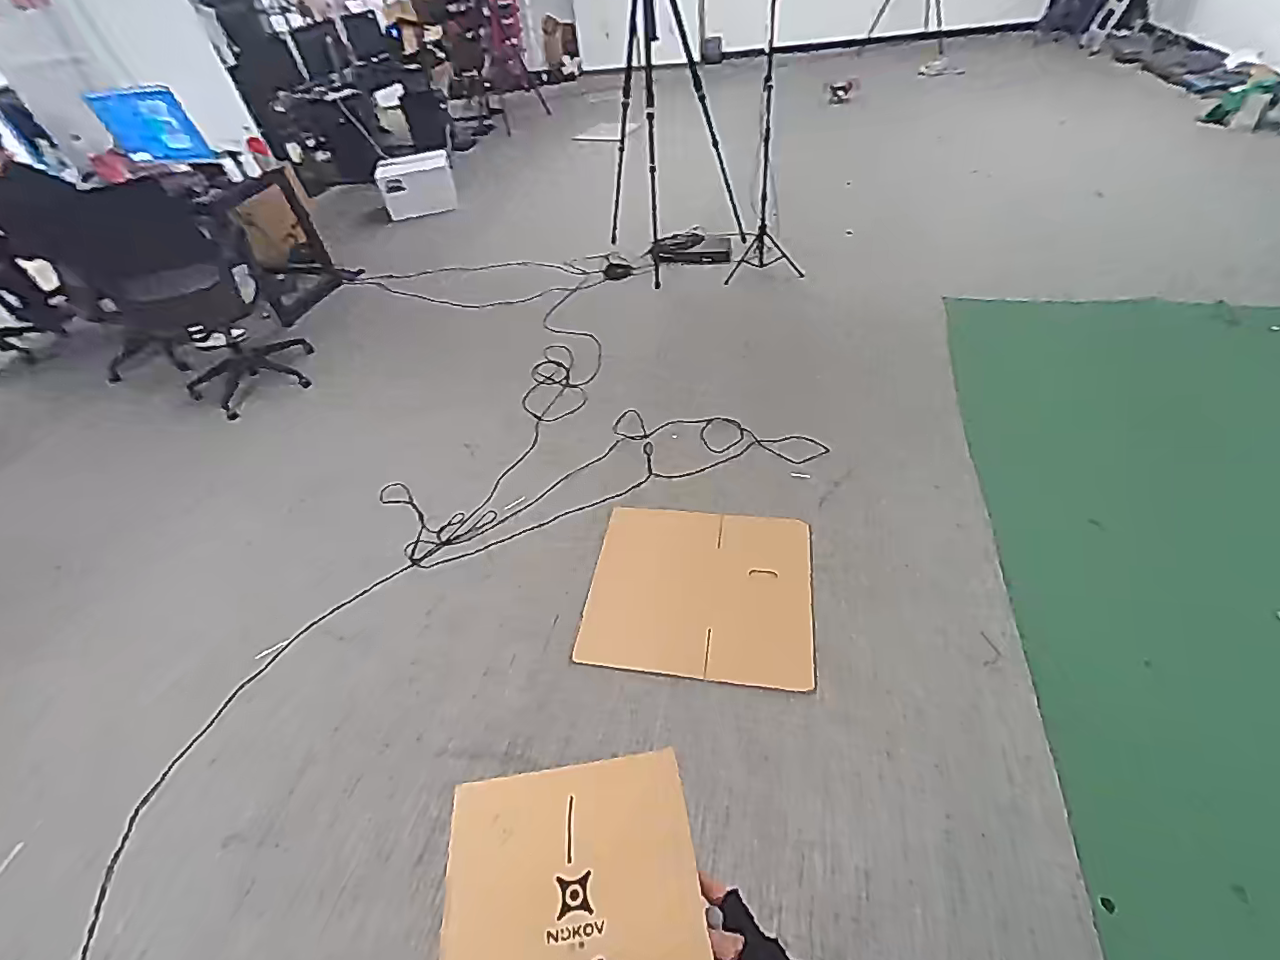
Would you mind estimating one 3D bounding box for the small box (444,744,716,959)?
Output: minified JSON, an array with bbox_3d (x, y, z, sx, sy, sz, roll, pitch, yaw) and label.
[{"bbox_3d":[-0.036,0.326,0.400,0.168,0.176,0.179,-7,44,-5],"label":"small box"}]
